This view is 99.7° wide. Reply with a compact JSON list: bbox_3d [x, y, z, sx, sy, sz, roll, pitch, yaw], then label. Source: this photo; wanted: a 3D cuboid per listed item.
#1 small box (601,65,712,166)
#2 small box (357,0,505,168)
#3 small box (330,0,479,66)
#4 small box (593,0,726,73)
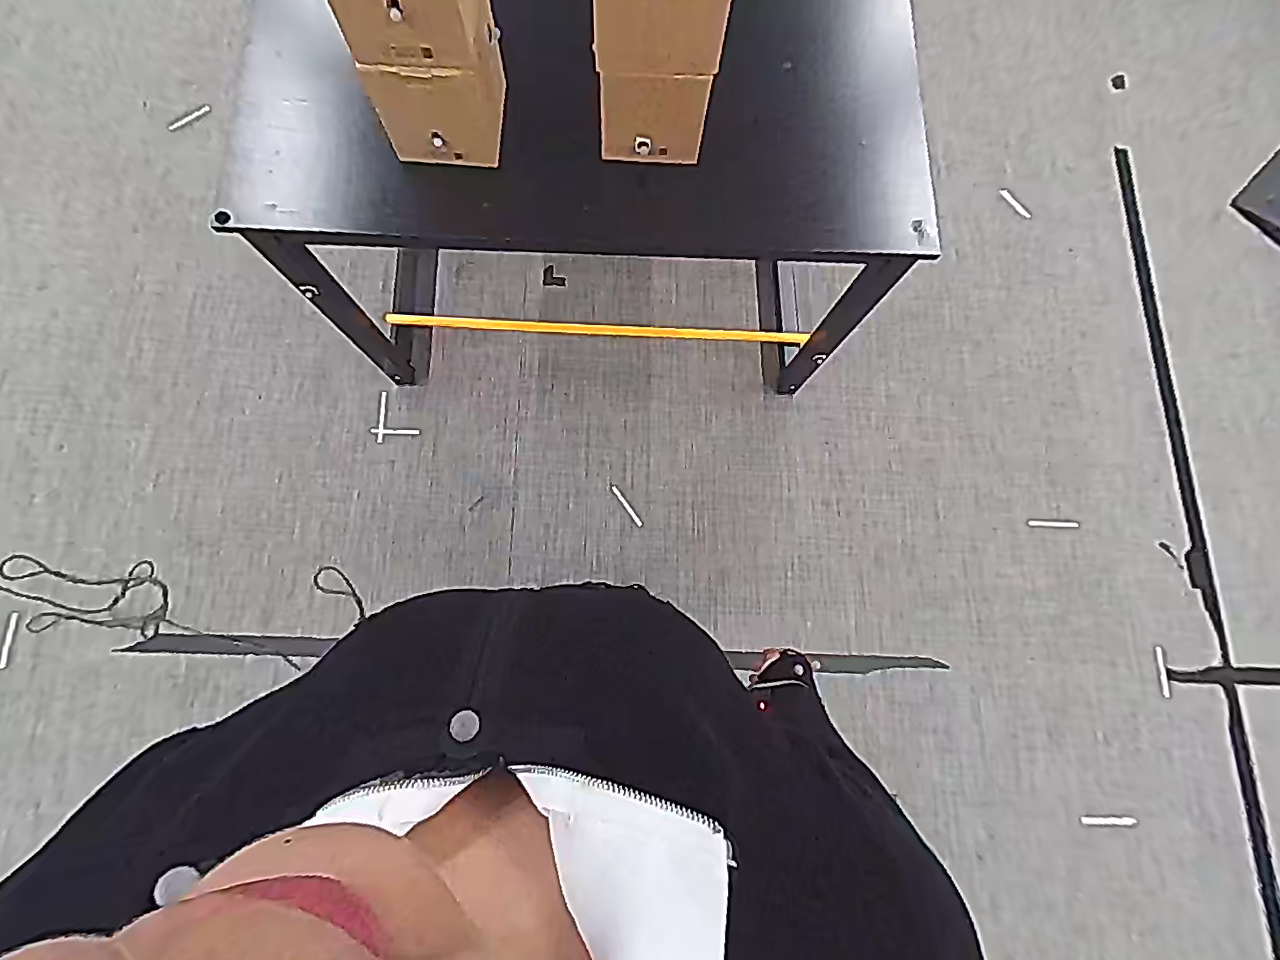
[{"bbox_3d":[0.021,-0.650,0.877,0.168,0.176,0.179,0,79,-2],"label":"small box"},{"bbox_3d":[-0.315,-0.636,0.854,0.168,0.176,0.179,2,78,-2],"label":"small box"},{"bbox_3d":[-0.309,-0.678,0.695,0.168,0.176,0.179,0,79,-3],"label":"small box"},{"bbox_3d":[0.024,-0.681,0.715,0.179,0.176,0.168,-1,78,-3],"label":"small box"}]
